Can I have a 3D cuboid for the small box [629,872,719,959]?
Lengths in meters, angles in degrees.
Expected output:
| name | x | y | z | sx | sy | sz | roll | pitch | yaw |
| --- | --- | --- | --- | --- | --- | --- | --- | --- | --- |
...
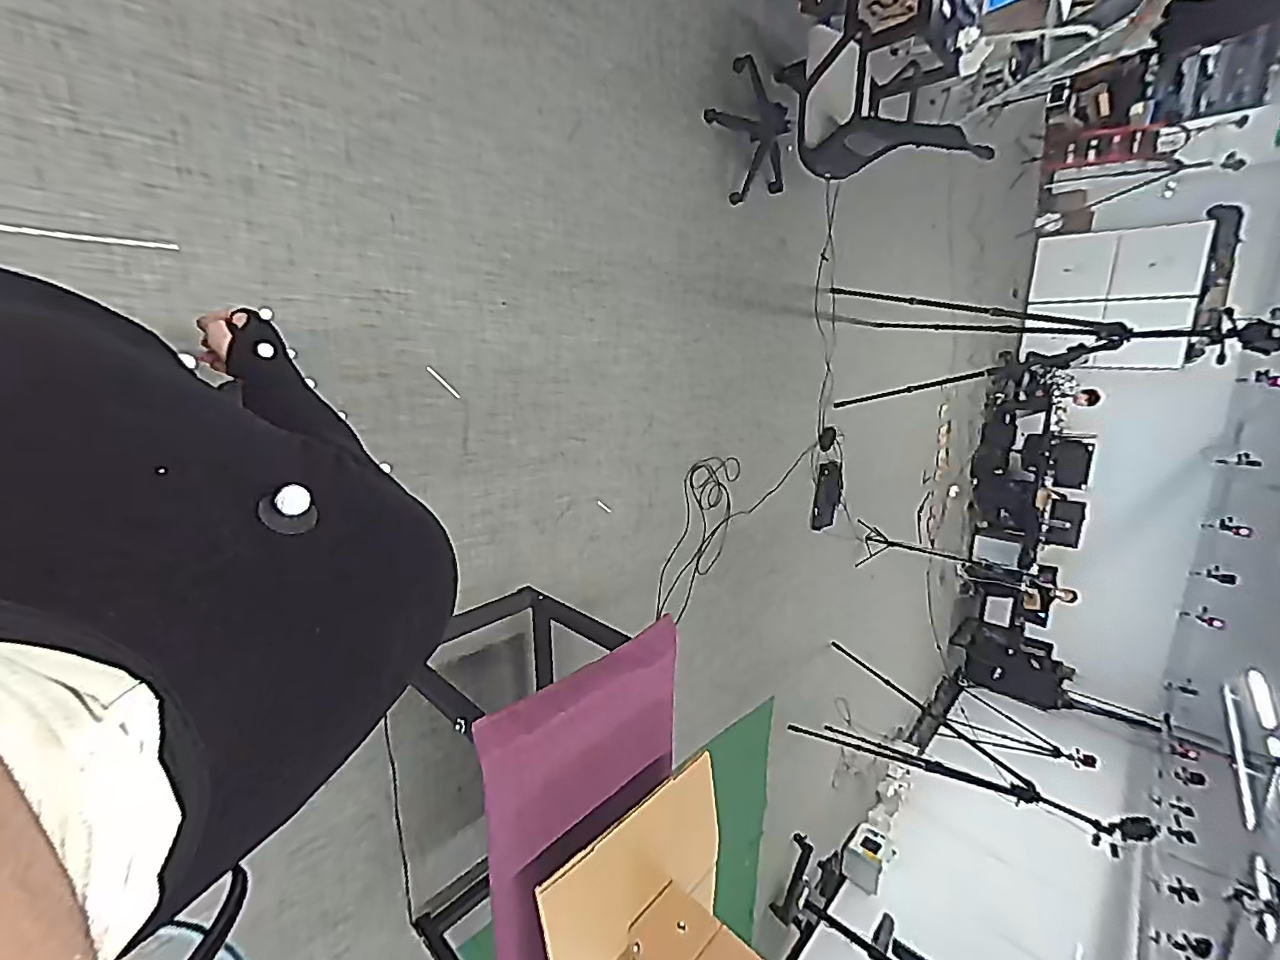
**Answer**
| name | x | y | z | sx | sy | sz | roll | pitch | yaw |
| --- | --- | --- | --- | --- | --- | --- | --- | --- | --- |
| small box | 0.086 | 1.196 | 1.416 | 0.179 | 0.176 | 0.168 | -17 | 115 | -44 |
